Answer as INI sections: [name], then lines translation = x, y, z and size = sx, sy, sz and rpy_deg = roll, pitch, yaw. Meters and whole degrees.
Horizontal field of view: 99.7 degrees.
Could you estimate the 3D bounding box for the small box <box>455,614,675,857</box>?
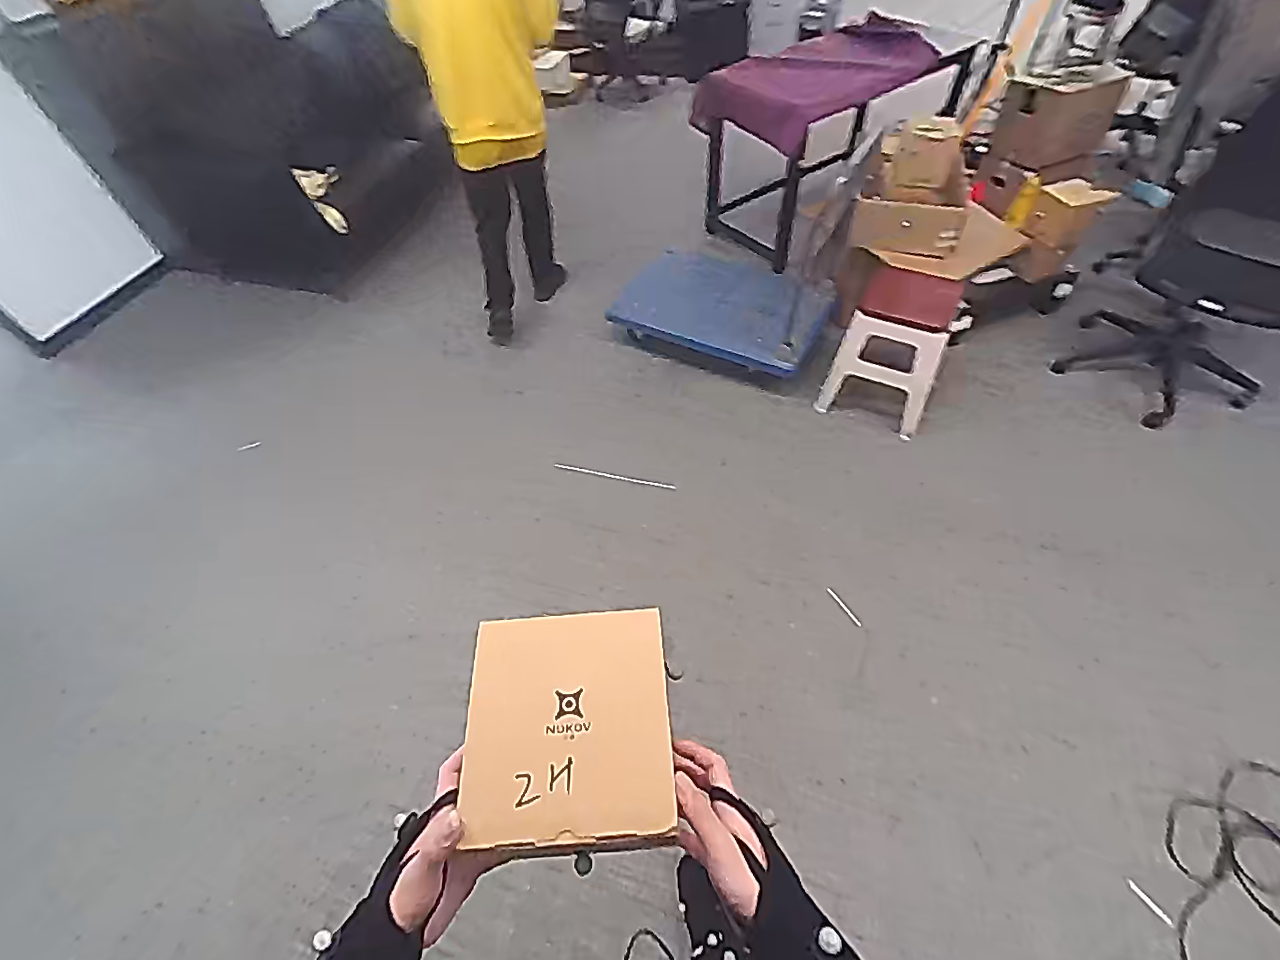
[small box]
translation = -0.057, 0.244, 0.511
size = 0.168, 0.176, 0.179
rpy_deg = -4, 54, 0
